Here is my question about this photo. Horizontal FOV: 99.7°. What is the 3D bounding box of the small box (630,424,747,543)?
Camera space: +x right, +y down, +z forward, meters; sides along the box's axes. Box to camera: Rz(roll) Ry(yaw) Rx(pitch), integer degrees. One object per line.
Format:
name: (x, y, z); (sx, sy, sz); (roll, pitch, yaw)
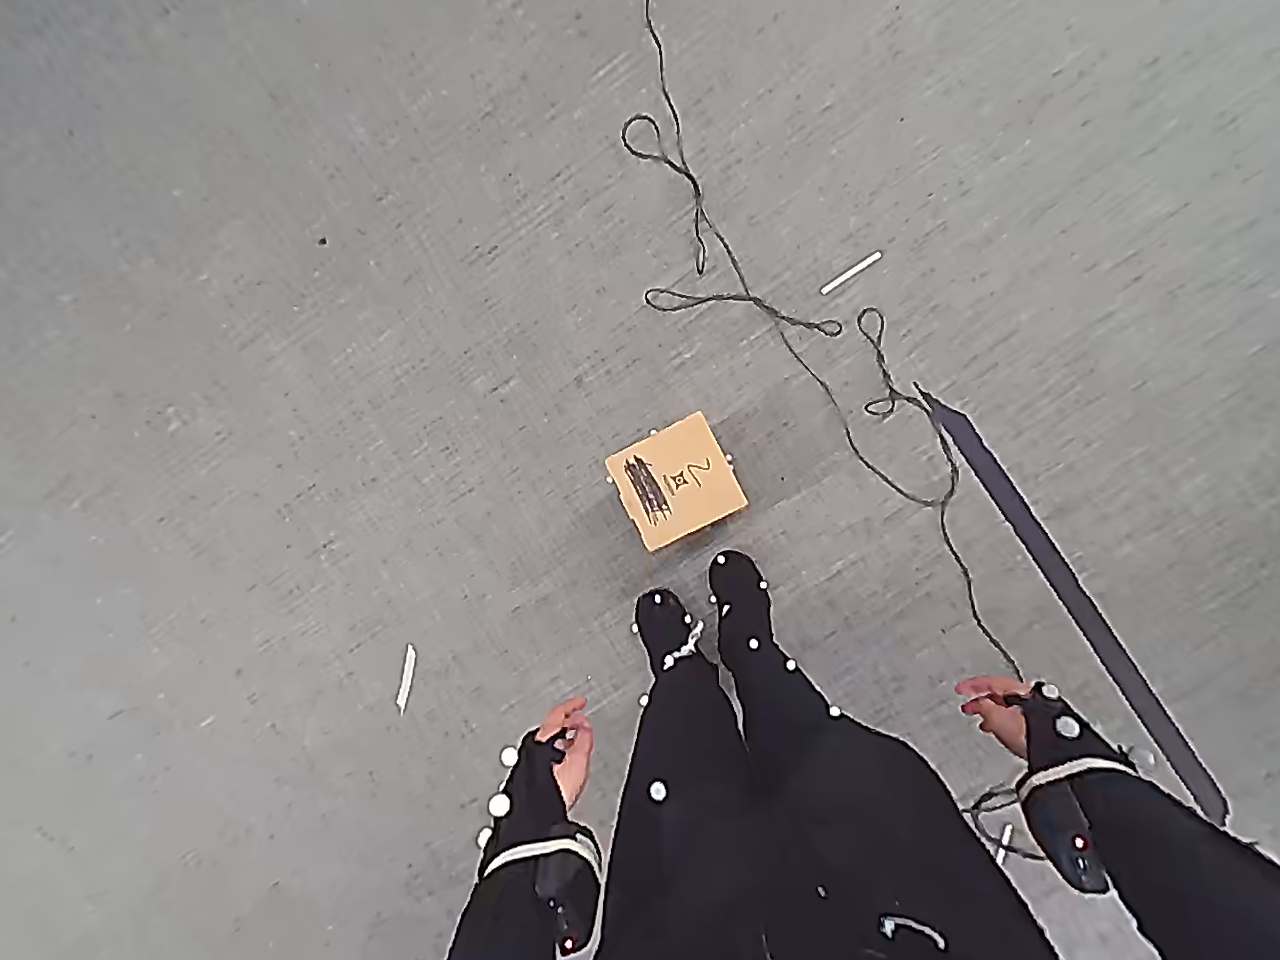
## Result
small box: (0.097, 0.007, 1.080); (0.168, 0.176, 0.179); (-26, 88, 7)
